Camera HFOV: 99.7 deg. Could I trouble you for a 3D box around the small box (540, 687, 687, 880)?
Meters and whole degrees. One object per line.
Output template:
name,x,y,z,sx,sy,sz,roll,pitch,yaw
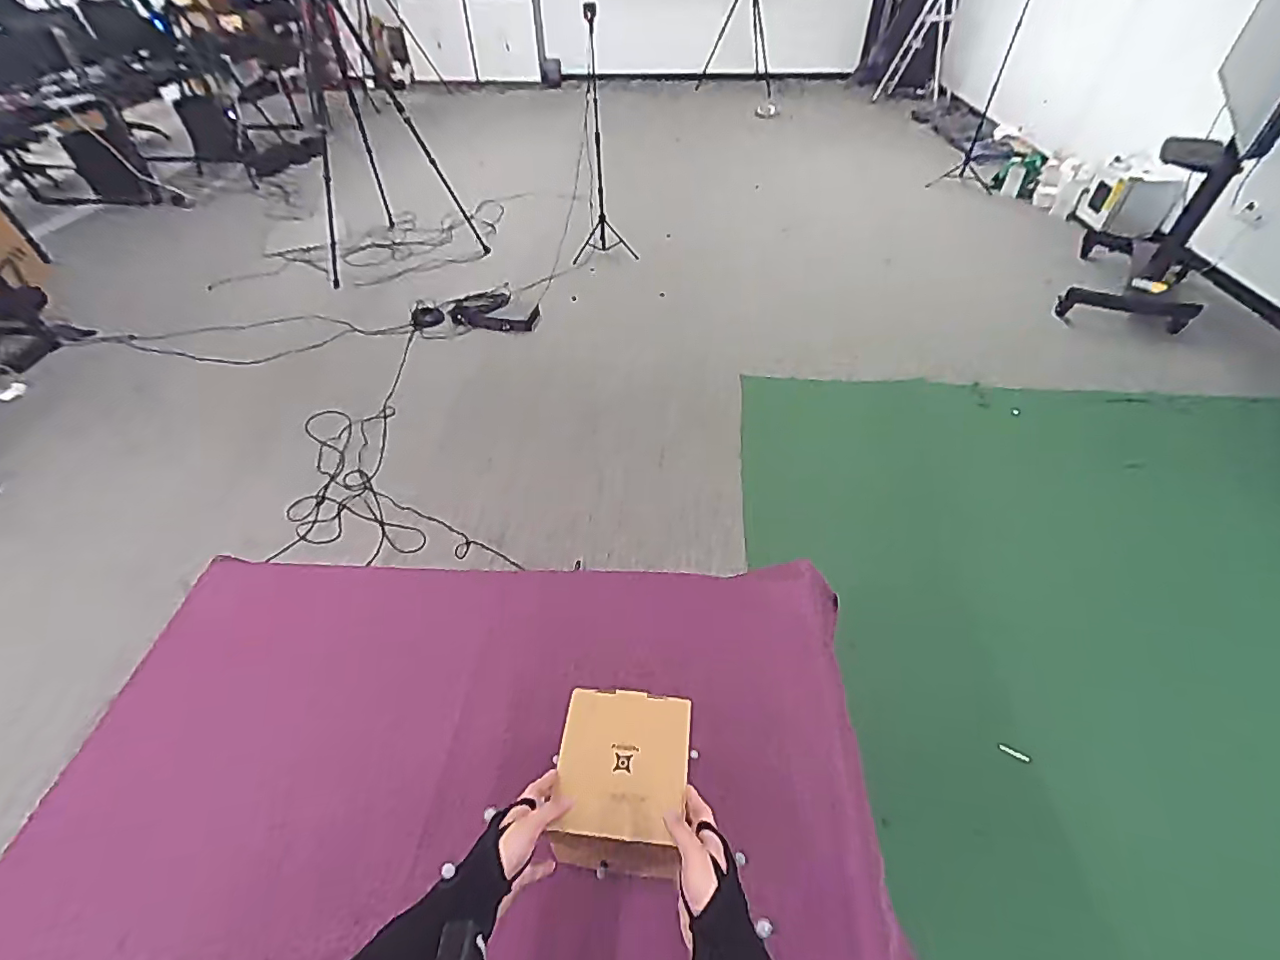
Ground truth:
small box,-0.028,0.412,0.738,0.168,0.176,0.179,4,43,5
